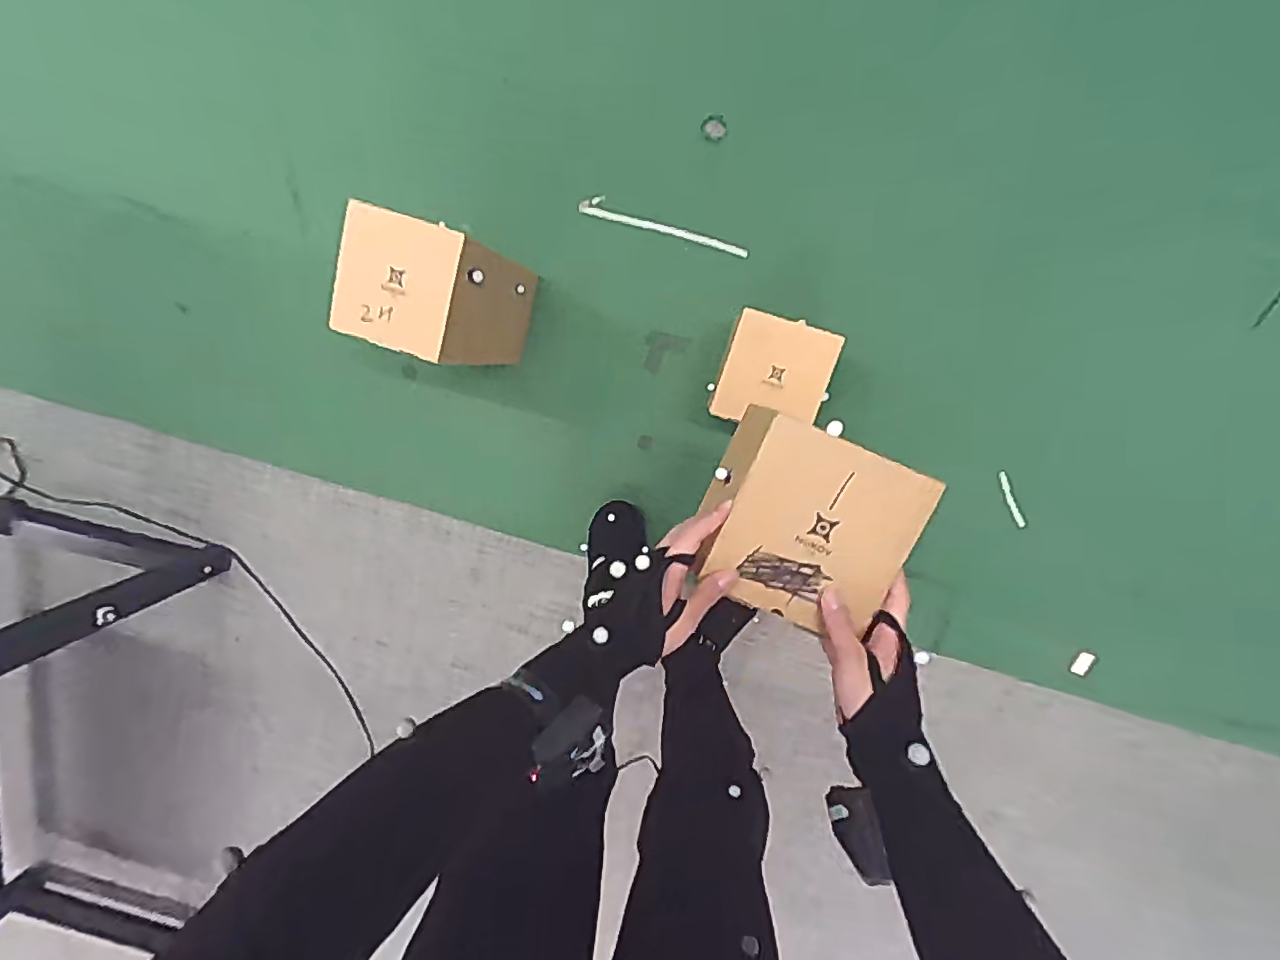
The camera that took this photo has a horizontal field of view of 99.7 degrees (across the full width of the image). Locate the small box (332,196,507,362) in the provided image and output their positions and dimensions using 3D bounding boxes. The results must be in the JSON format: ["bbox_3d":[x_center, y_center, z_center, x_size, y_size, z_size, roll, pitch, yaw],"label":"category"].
[{"bbox_3d":[-0.314,-0.283,0.800,0.168,0.176,0.179,19,103,3],"label":"small box"}]

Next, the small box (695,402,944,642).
[{"bbox_3d":[0.166,0.029,0.566,0.168,0.176,0.179,24,99,-2],"label":"small box"}]

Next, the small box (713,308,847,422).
[{"bbox_3d":[0.227,-0.181,0.932,0.168,0.176,0.179,17,104,2],"label":"small box"}]
